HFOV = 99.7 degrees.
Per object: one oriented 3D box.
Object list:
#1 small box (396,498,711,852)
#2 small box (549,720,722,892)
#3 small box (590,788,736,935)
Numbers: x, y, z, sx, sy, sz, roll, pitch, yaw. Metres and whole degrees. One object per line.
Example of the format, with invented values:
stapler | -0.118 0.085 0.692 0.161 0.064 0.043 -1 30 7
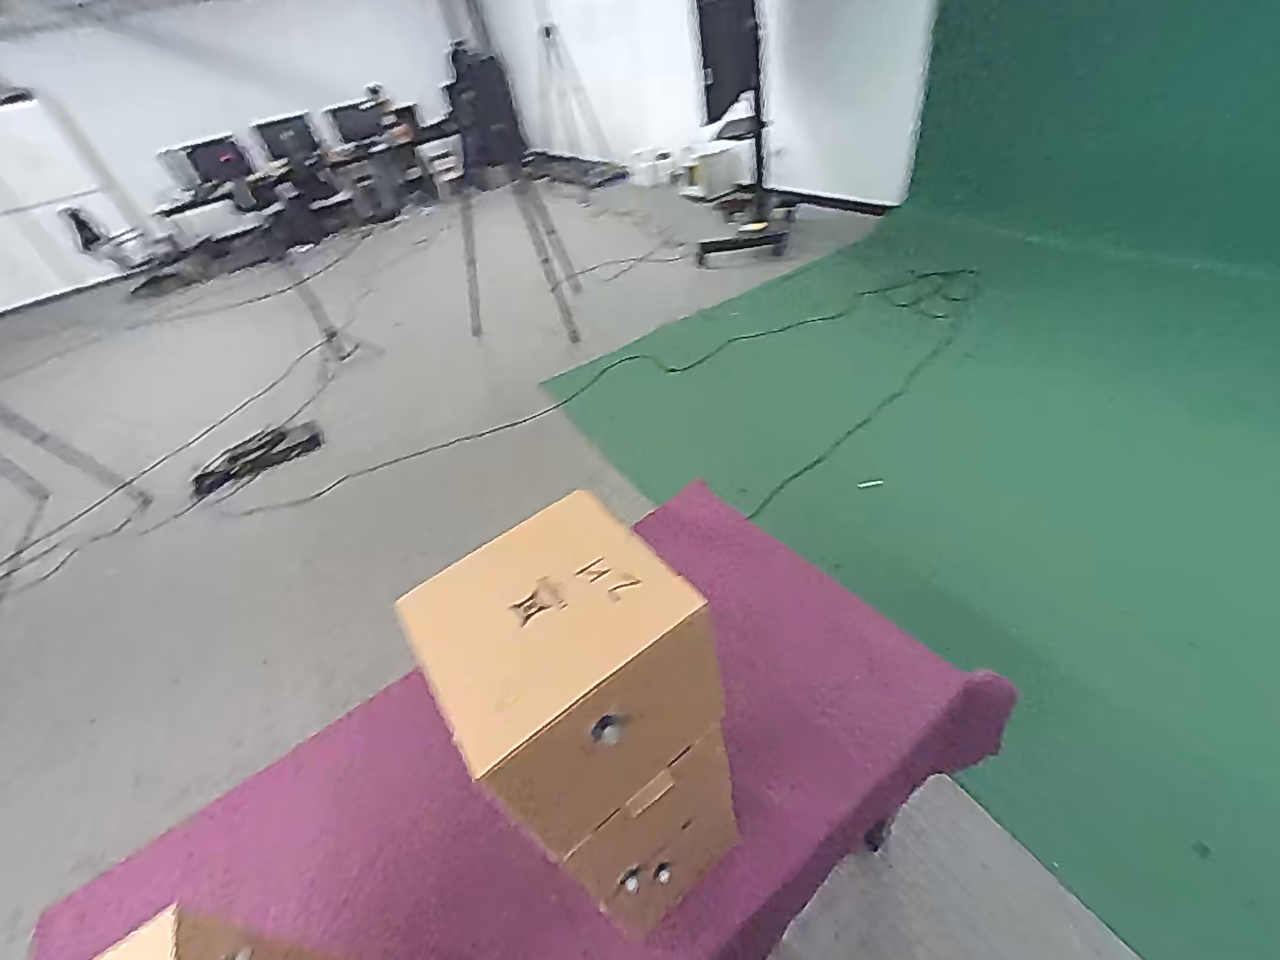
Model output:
small box | -0.059 0.154 0.440 0.179 0.176 0.168 -32 45 -20
small box | -0.034 0.274 0.550 0.168 0.176 0.179 -33 44 -21
small box | -0.005 0.397 0.656 0.168 0.176 0.179 -34 44 -19
